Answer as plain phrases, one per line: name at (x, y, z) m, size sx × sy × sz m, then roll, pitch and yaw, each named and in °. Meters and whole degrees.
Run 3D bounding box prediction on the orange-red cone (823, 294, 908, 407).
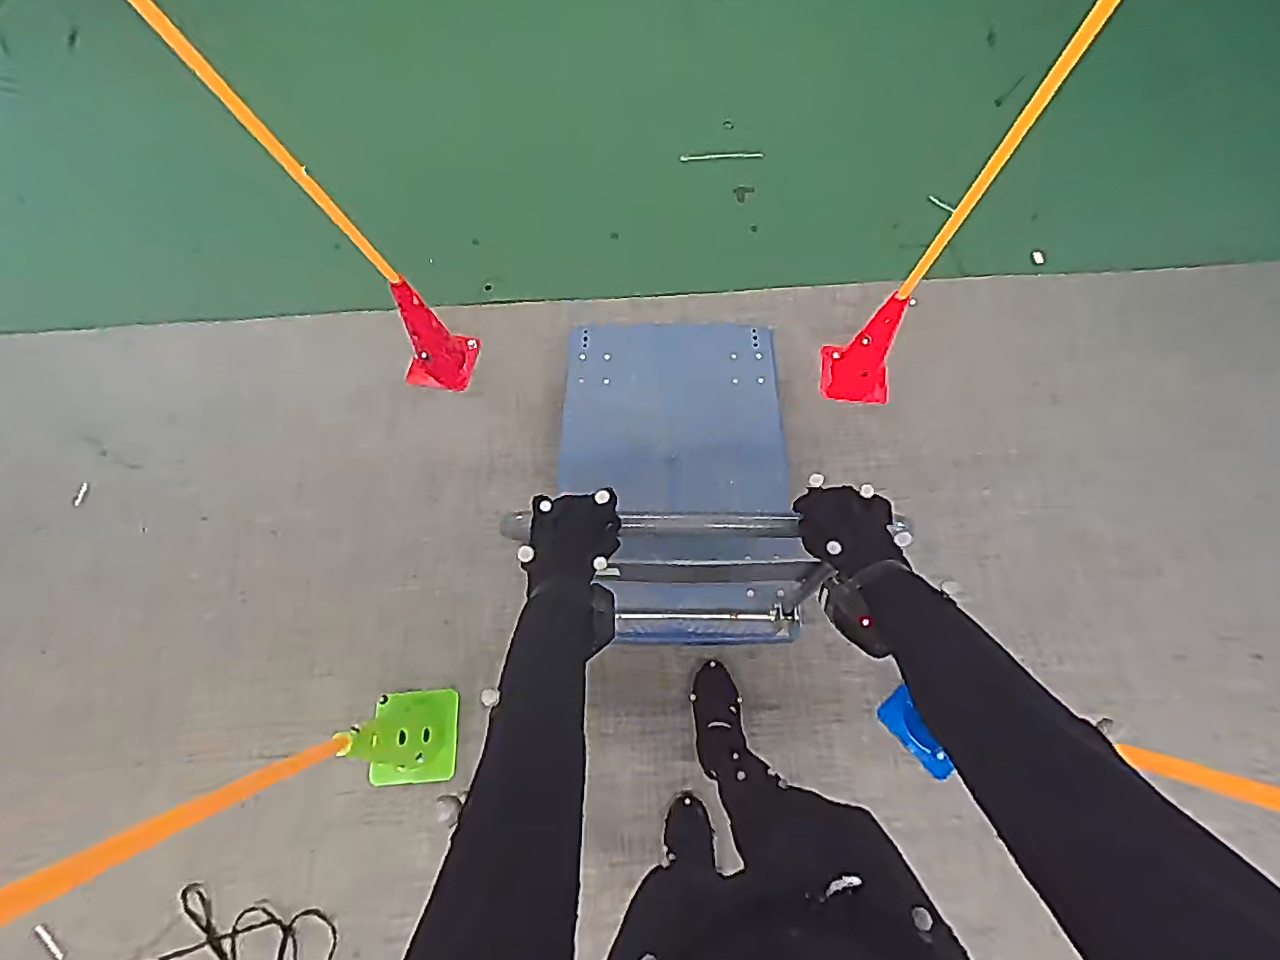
orange-red cone at (0.665, -0.385, 1.522) m, size 0.198 × 0.360 × 0.199 m, roll 7°, pitch 68°, yaw 5°
